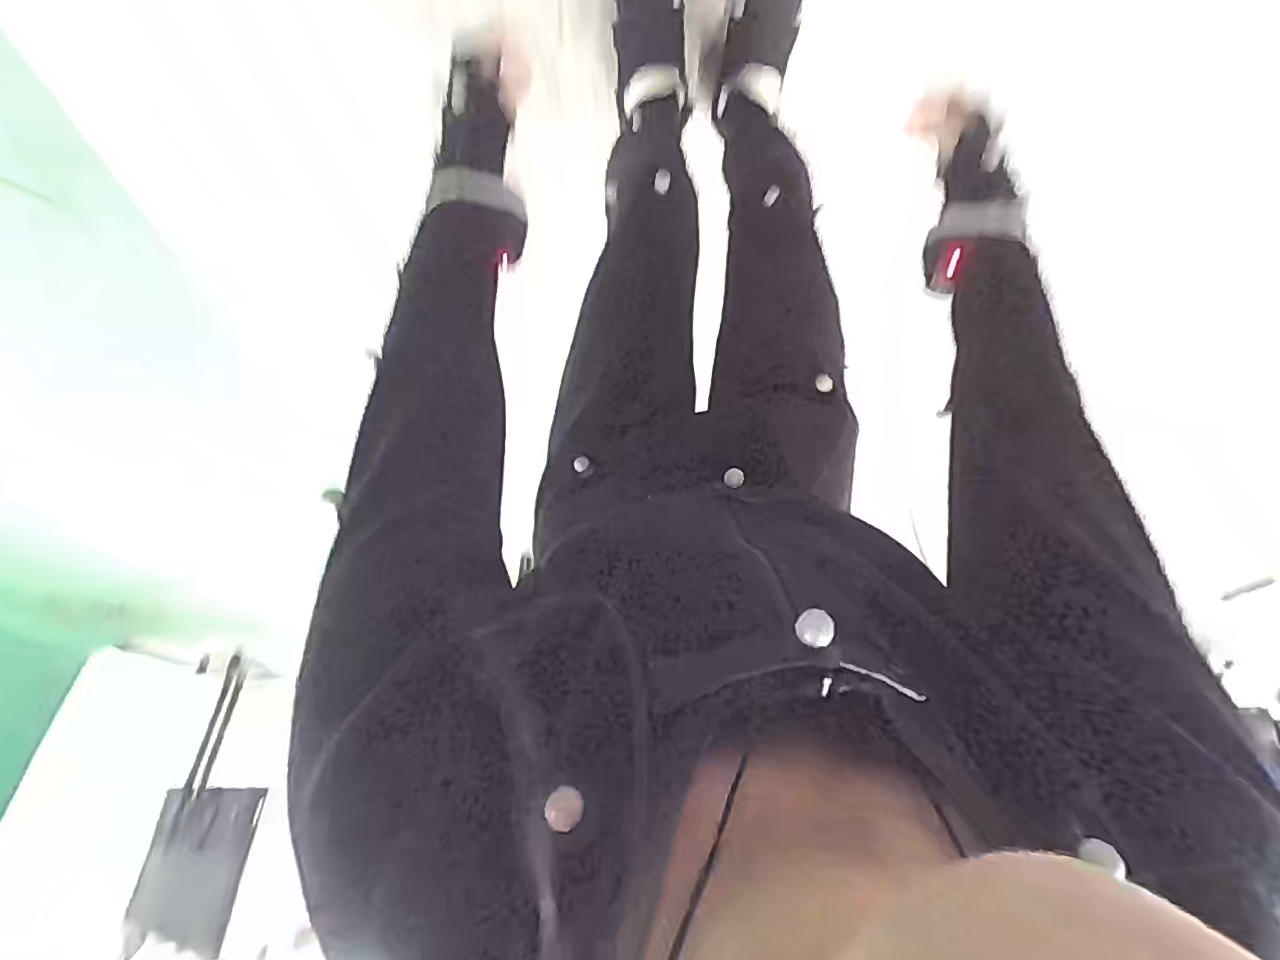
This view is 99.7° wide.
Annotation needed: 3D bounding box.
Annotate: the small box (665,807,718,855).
[{"bbox_3d":[0.221,1.530,2.362,0.179,0.176,0.168,13,148,-19],"label":"small box"}]
